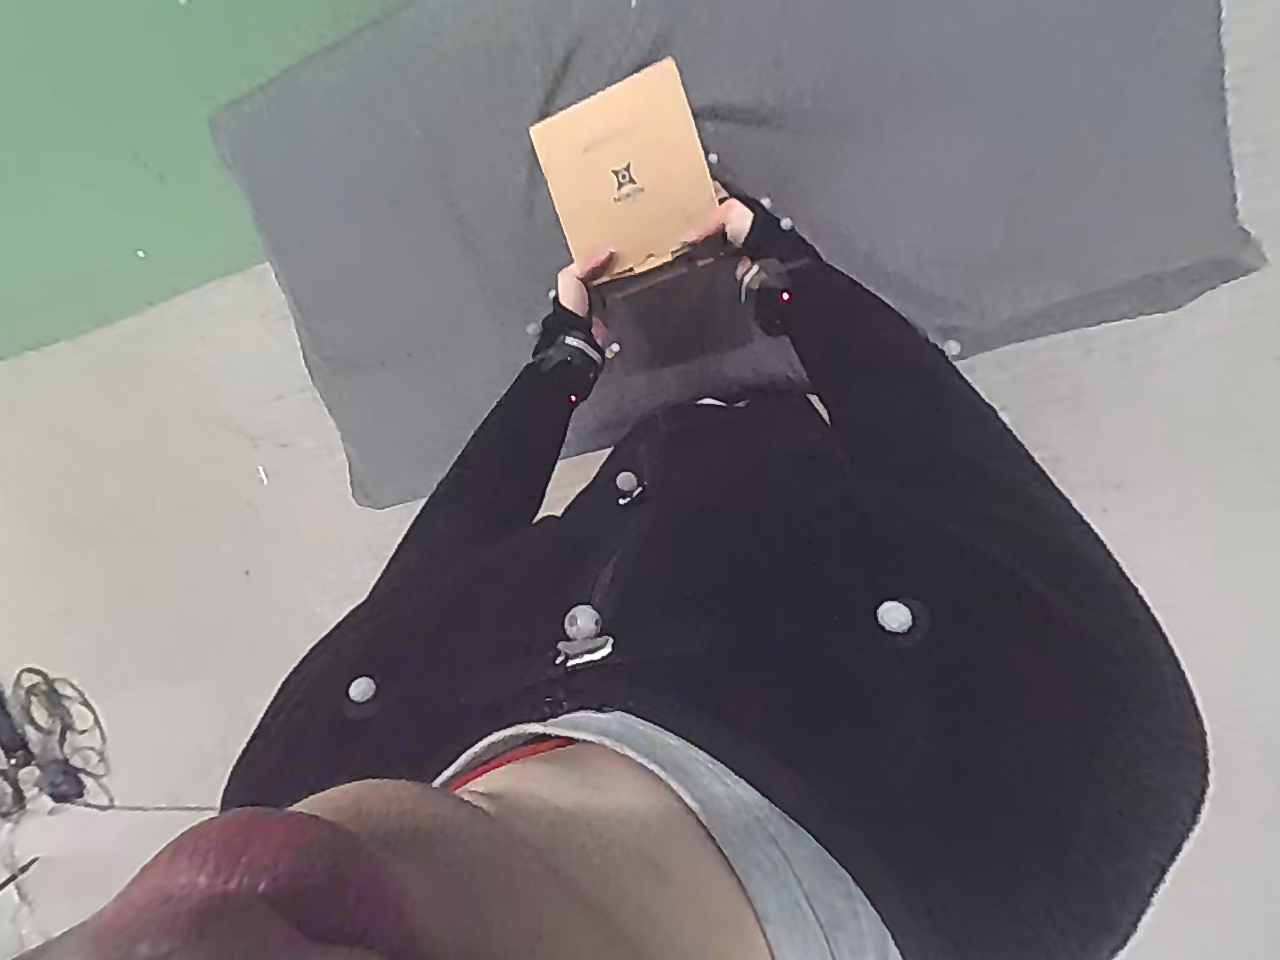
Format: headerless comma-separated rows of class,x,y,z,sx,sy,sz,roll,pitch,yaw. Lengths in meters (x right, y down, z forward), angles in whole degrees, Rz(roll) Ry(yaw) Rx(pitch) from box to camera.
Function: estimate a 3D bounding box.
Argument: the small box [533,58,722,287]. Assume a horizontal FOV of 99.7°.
small box,-0.001,-0.344,0.651,0.168,0.176,0.179,-17,101,12
